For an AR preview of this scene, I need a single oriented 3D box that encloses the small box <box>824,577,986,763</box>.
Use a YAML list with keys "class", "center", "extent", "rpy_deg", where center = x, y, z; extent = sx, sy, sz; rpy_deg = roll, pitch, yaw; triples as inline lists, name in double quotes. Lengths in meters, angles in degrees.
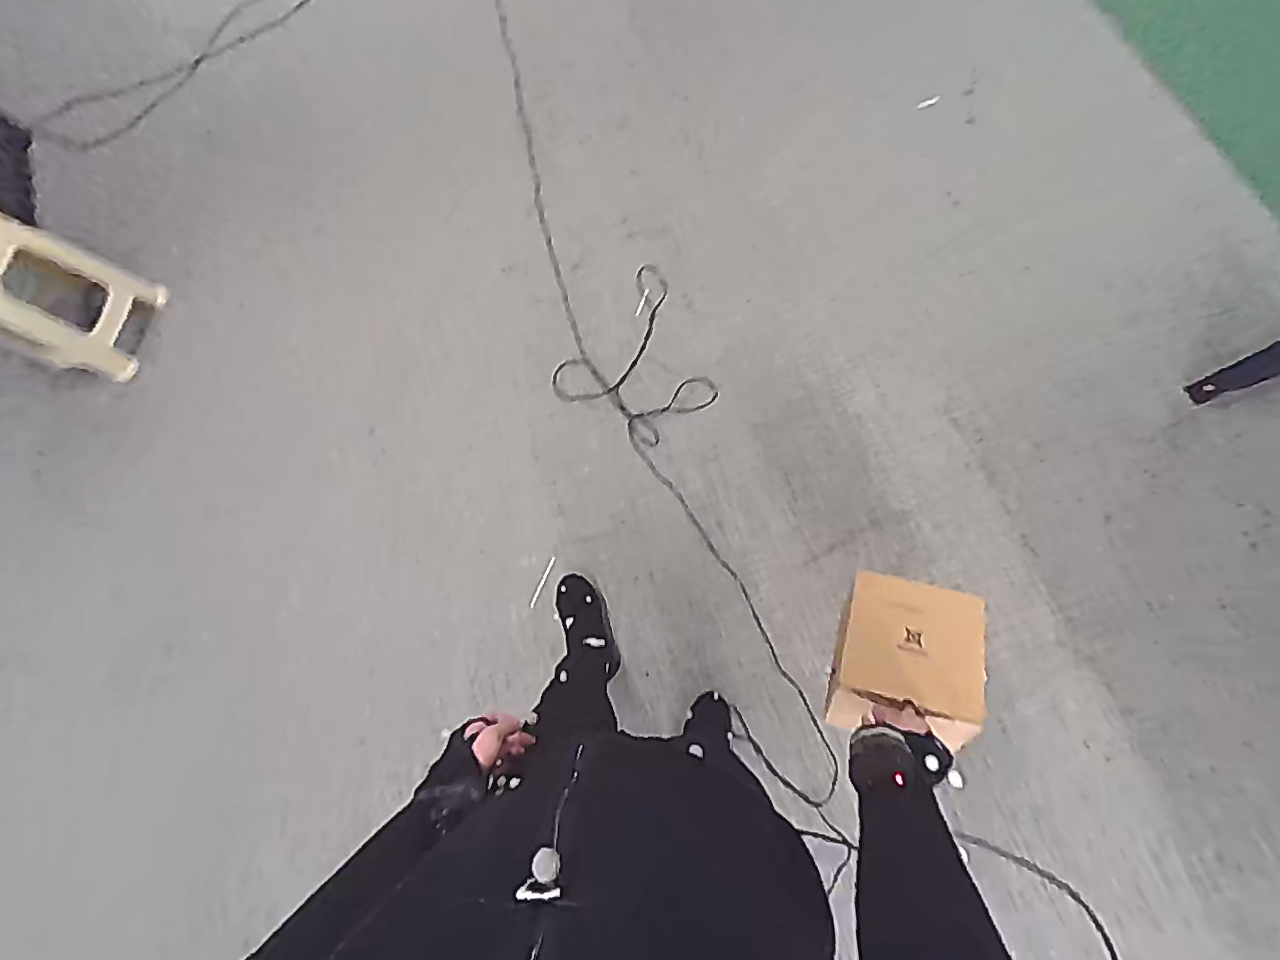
- class: "small box"
  center: [0.368, 0.272, 0.769]
  extent: [0.168, 0.176, 0.179]
  rpy_deg: [15, 53, 18]
